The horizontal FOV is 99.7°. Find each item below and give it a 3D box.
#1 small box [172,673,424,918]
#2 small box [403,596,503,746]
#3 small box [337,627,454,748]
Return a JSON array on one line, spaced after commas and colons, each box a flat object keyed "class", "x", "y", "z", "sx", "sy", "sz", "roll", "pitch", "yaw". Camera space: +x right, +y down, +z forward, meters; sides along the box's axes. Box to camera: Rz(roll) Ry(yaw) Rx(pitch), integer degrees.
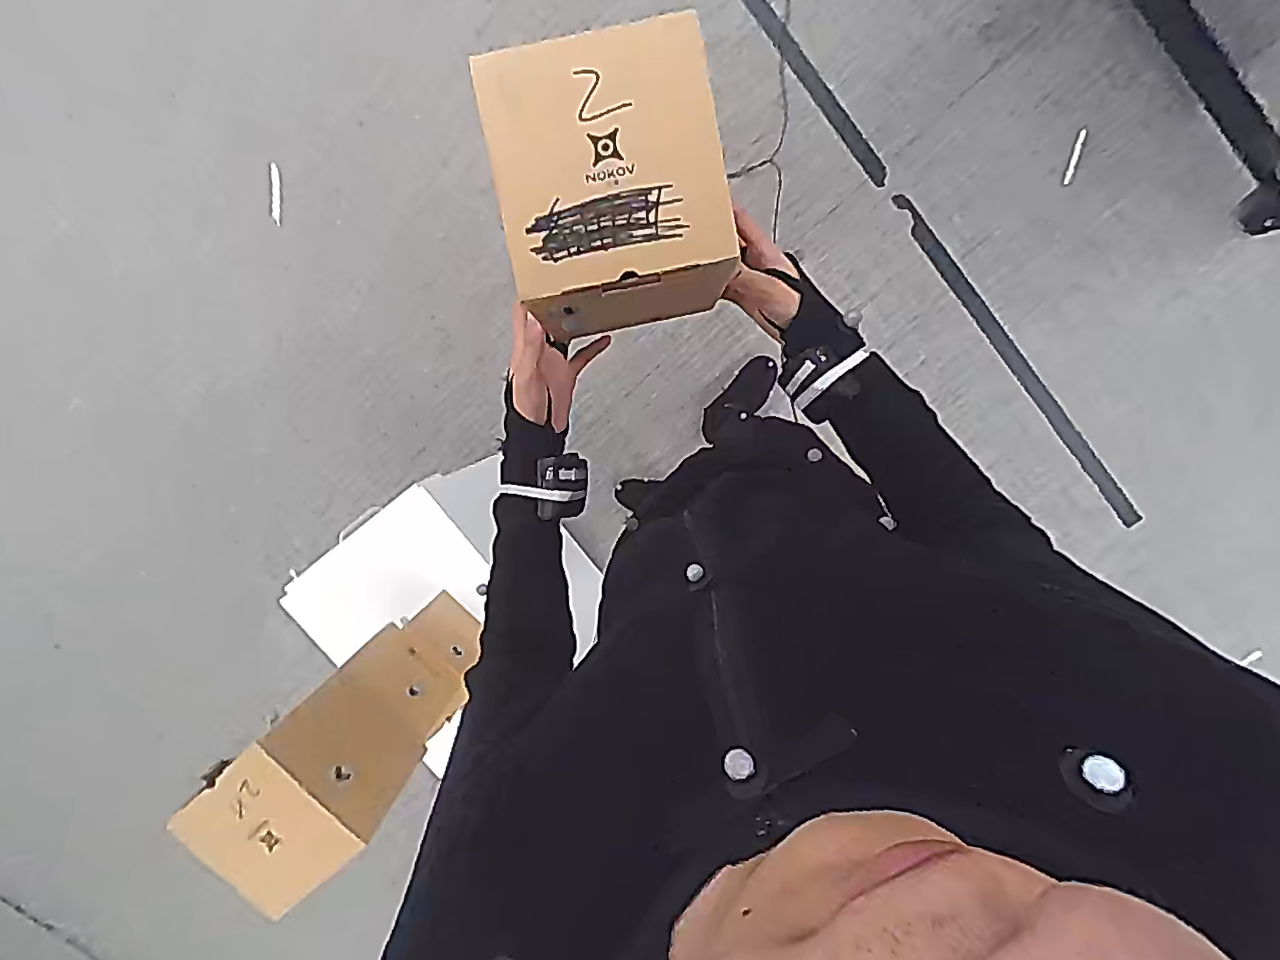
[{"class": "small box", "x": -0.417, "y": 0.389, "z": 0.695, "sx": 0.168, "sy": 0.176, "sz": 0.179, "roll": -41, "pitch": 96, "yaw": 8}, {"class": "small box", "x": -0.389, "y": 0.349, "z": 1.020, "sx": 0.179, "sy": 0.176, "sz": 0.168, "roll": 44, "pitch": 98, "yaw": -4}, {"class": "small box", "x": -0.423, "y": 0.368, "z": 0.860, "sx": 0.179, "sy": 0.176, "sz": 0.168, "roll": -44, "pitch": 95, "yaw": 9}]
